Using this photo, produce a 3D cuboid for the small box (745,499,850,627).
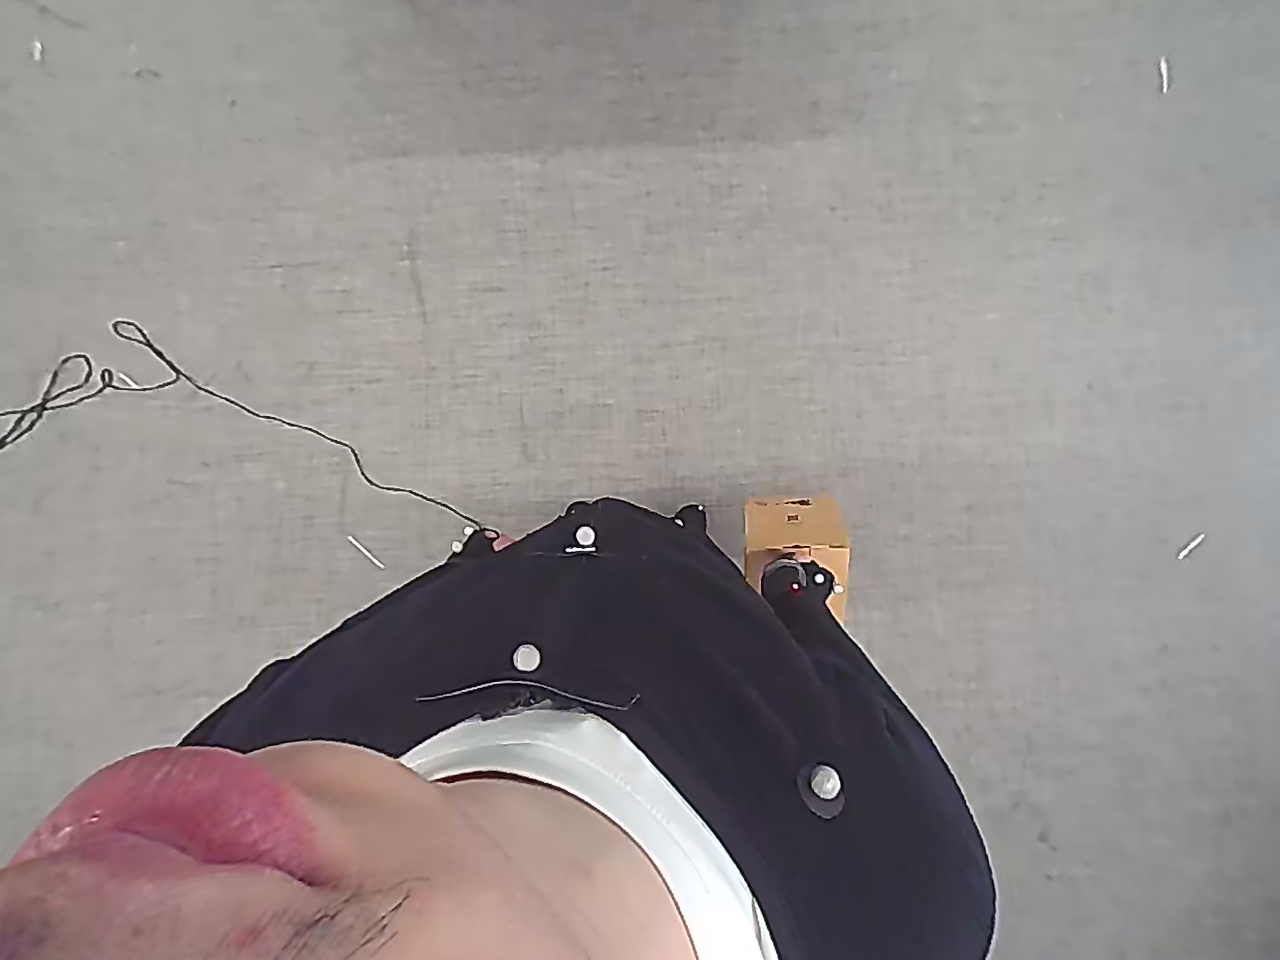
[{"bbox_3d":[0.281,0.152,0.984,0.168,0.179,0.176,-3,115,11],"label":"small box"}]
